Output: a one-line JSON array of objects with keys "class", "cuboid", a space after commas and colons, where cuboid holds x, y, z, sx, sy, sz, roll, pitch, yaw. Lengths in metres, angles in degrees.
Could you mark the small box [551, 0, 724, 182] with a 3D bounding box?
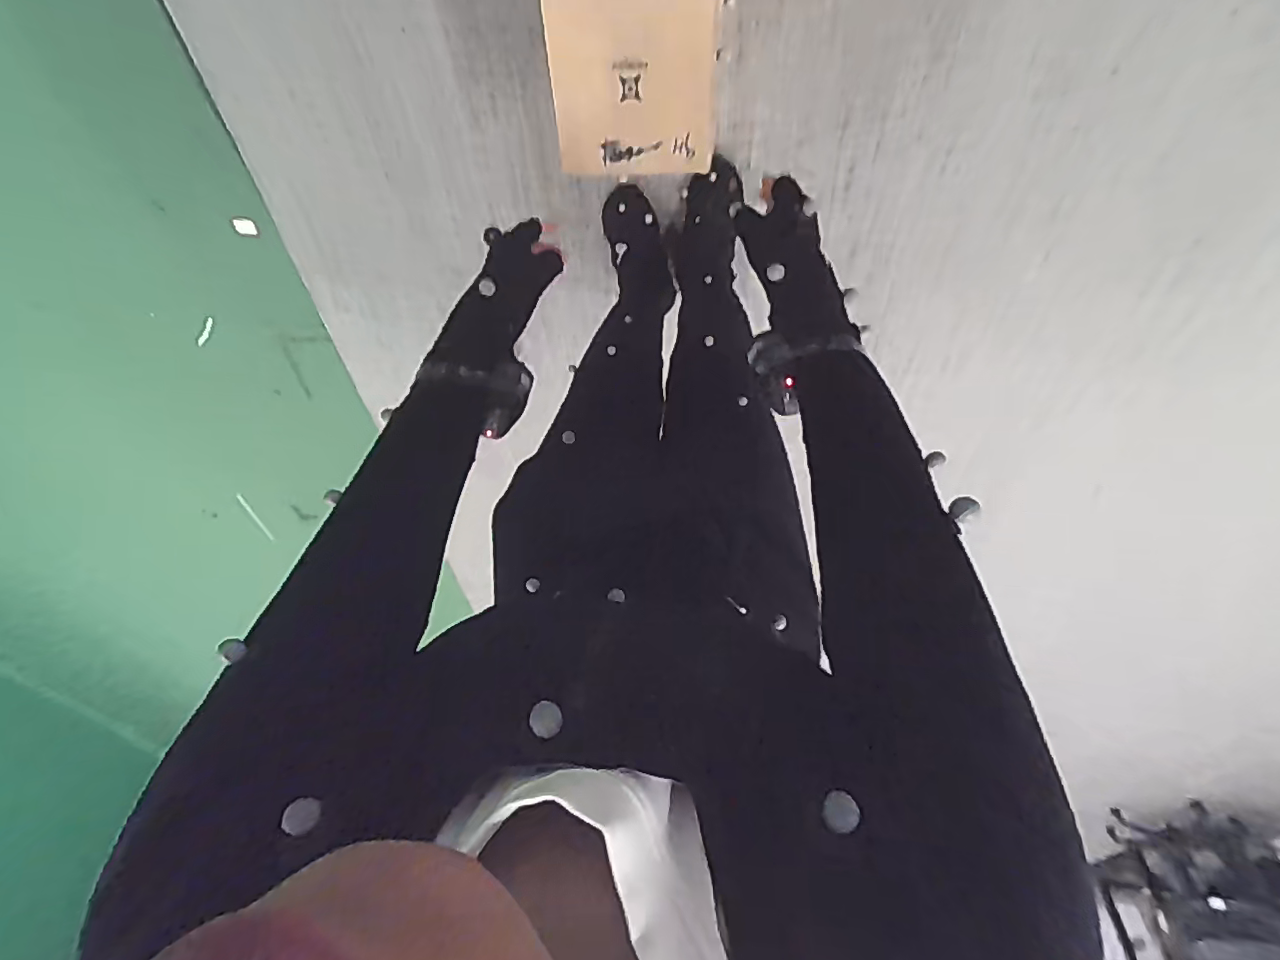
[{"class": "small box", "cuboid": [0.007, -0.454, 0.608, 0.168, 0.176, 0.179, 3, 133, 7]}]
